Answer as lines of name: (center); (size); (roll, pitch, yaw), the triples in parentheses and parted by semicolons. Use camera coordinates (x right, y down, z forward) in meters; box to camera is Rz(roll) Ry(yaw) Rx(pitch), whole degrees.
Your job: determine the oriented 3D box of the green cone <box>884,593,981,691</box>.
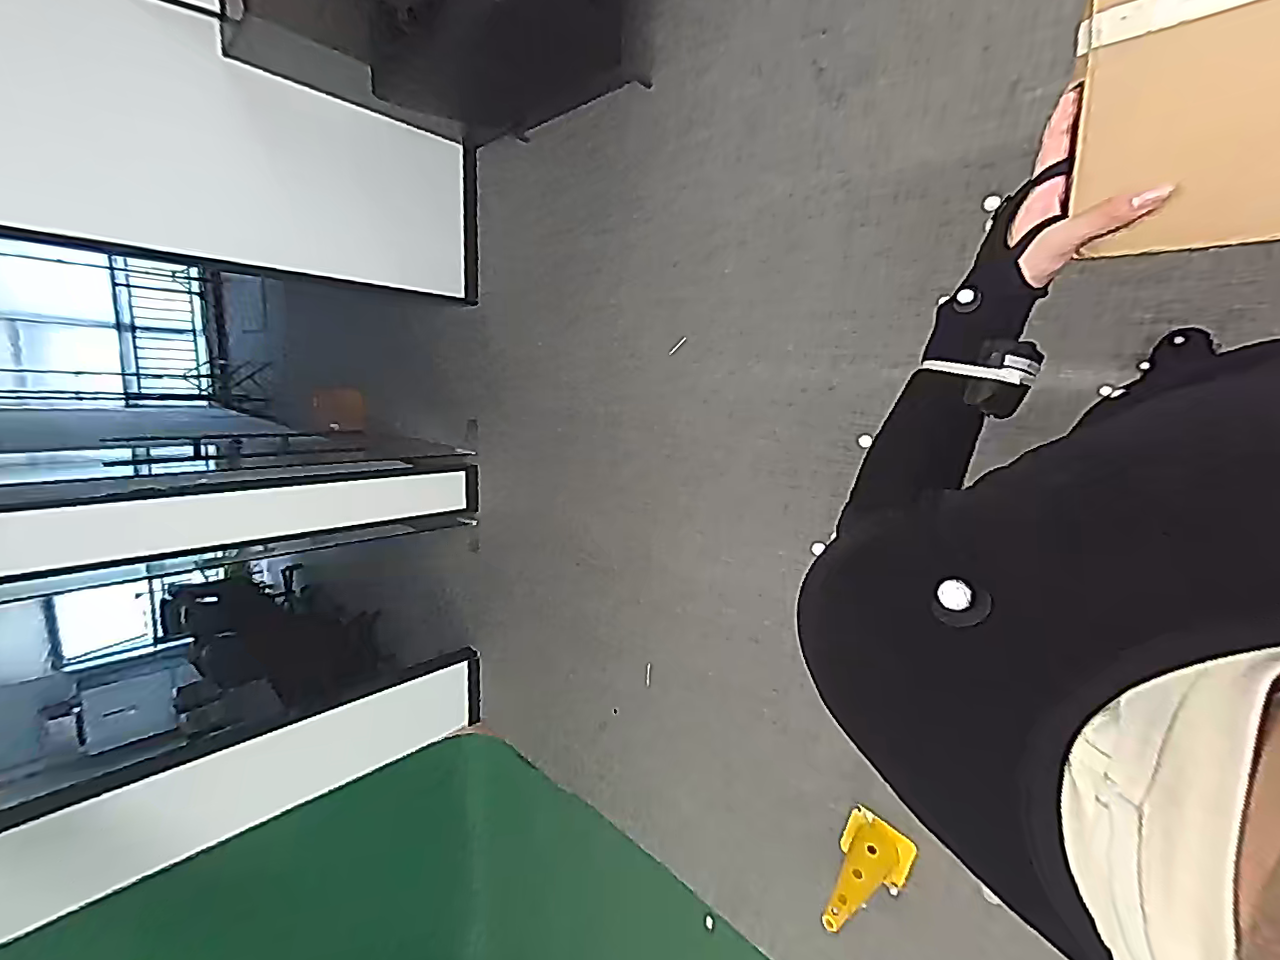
green cone: (0.729, 0.463, 1.429); (0.200, 0.368, 0.202); (20, 110, 41)
